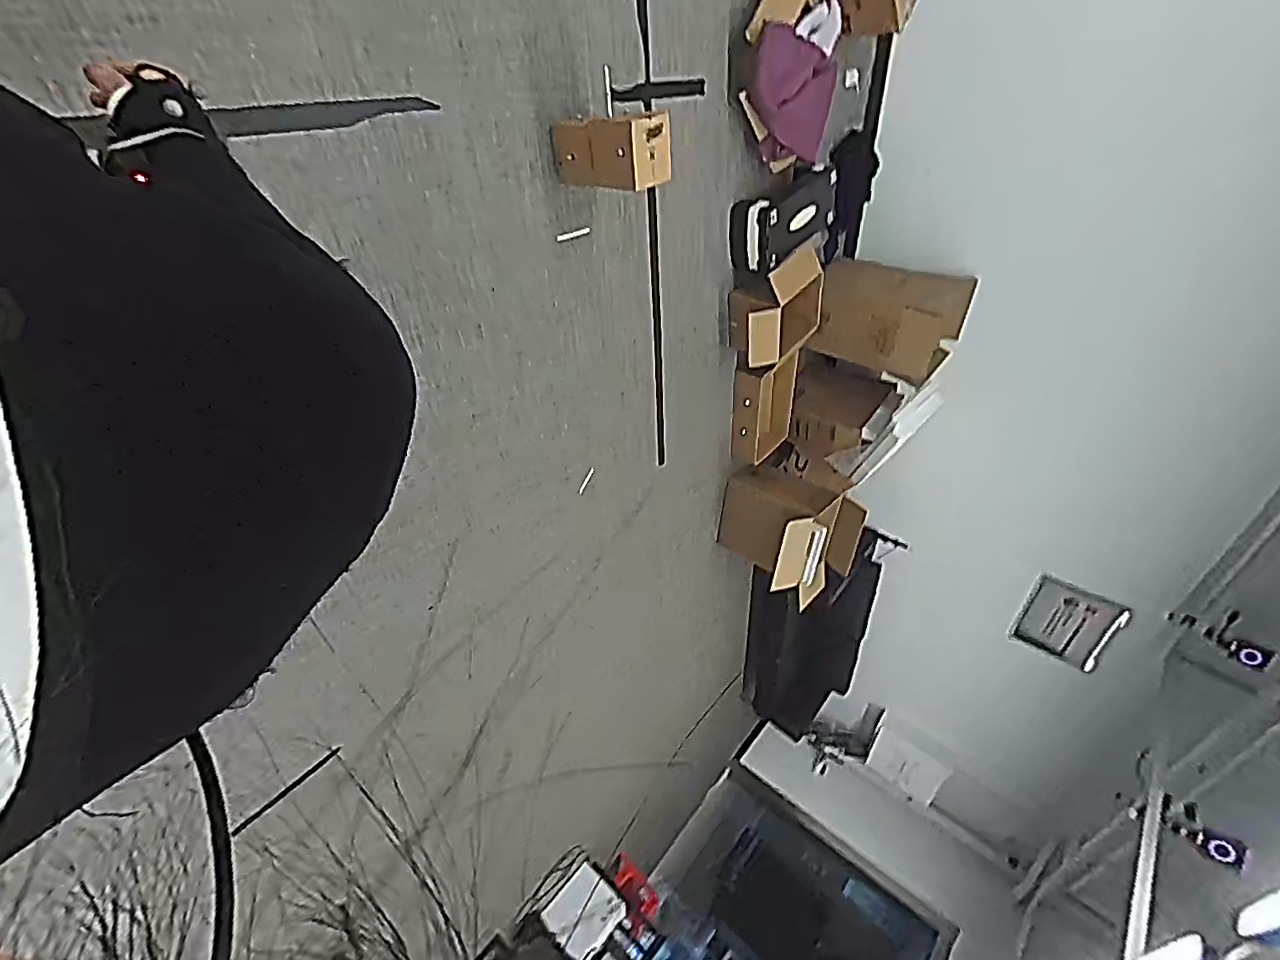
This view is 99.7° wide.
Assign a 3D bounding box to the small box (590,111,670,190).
[{"bbox_3d":[-0.031,-0.971,1.589,0.168,0.176,0.179,-39,140,-33],"label":"small box"}]

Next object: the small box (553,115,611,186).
[{"bbox_3d":[-0.153,-1.029,1.686,0.179,0.176,0.168,-38,139,-32],"label":"small box"}]
